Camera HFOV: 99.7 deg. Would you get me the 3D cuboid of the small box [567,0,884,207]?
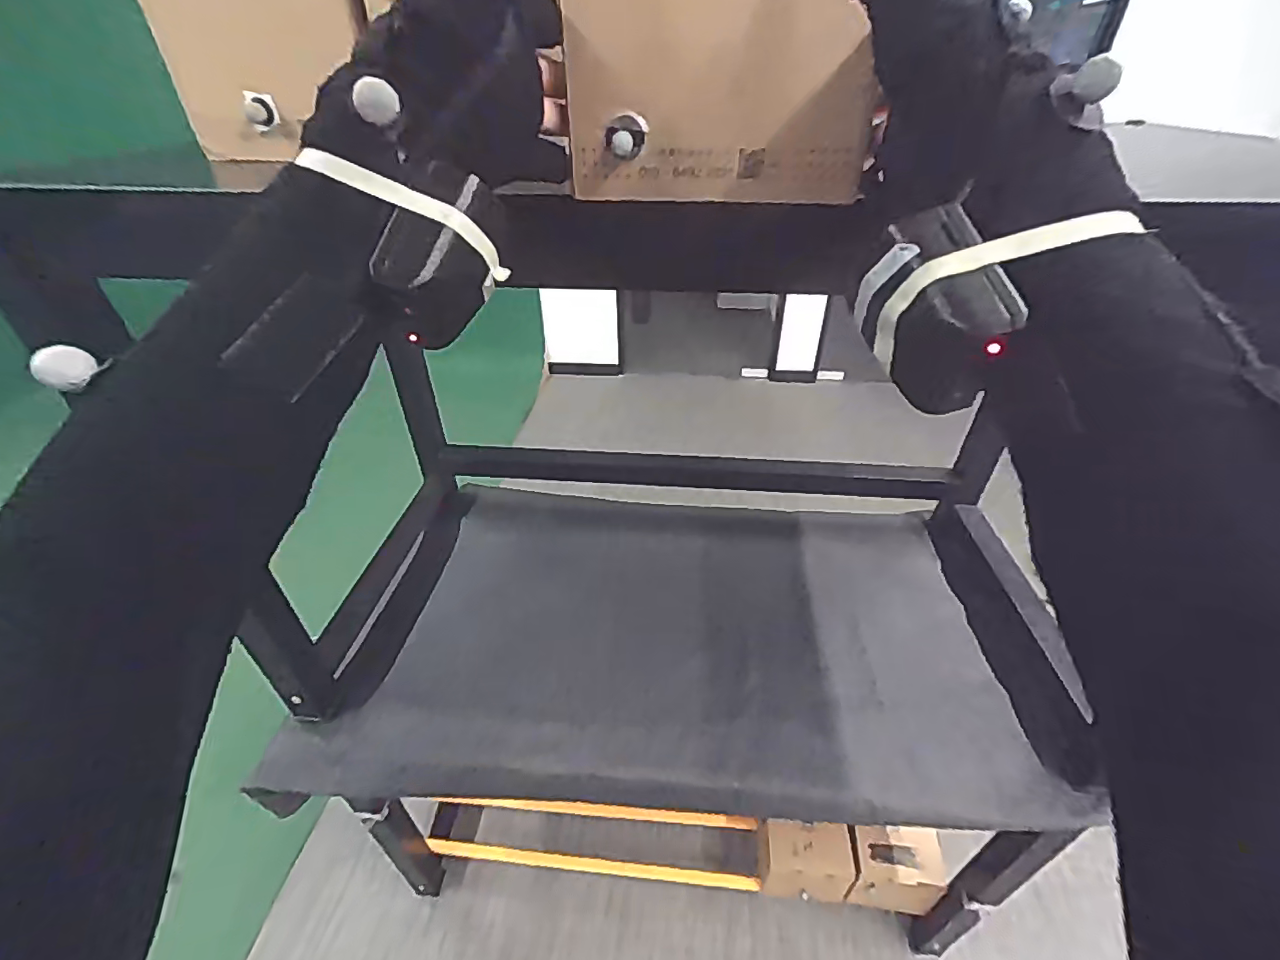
[{"bbox_3d":[0.053,-0.279,0.345,0.168,0.176,0.179,4,35,6],"label":"small box"}]
